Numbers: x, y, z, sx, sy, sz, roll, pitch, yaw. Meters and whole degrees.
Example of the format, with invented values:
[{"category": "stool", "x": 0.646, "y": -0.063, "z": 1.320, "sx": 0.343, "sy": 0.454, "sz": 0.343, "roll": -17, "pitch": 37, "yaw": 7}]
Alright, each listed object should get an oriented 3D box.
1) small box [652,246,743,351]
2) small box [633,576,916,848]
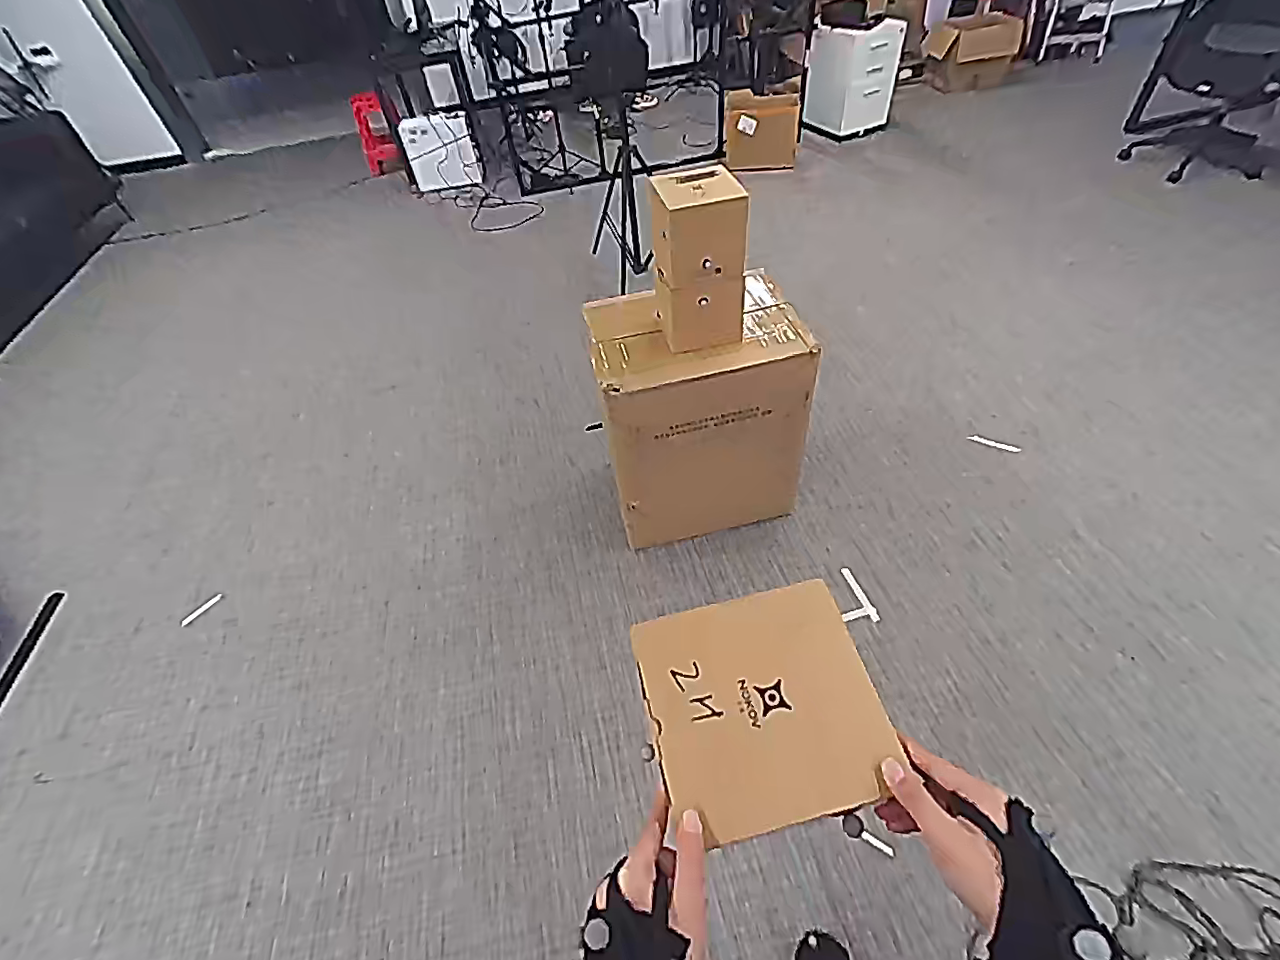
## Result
[{"category": "small box", "x": 0.135, "y": -0.427, "z": 1.283, "sx": 0.179, "sy": 0.176, "sz": 0.168, "roll": -12, "pitch": 48, "yaw": -4}, {"category": "small box", "x": 0.098, "y": 0.209, "z": 0.481, "sx": 0.179, "sy": 0.176, "sz": 0.168, "roll": -13, "pitch": 55, "yaw": -4}]
